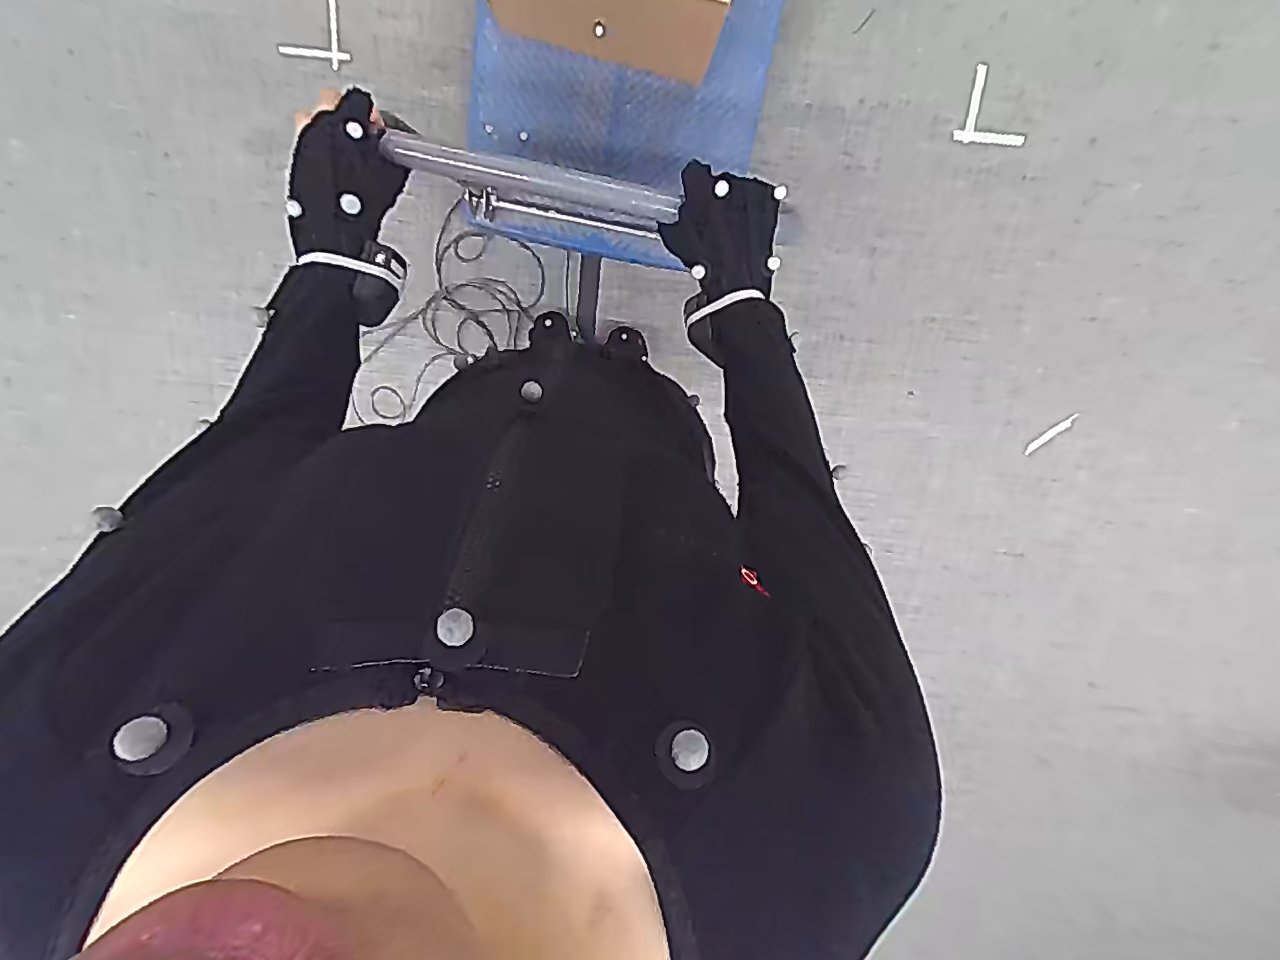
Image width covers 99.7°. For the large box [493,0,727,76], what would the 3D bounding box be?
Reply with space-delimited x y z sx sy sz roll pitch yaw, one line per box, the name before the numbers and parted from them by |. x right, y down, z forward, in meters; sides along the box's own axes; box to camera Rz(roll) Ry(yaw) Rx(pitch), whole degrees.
large box | -0.036 -0.938 0.889 0.408 0.320 0.320 12 107 -5
